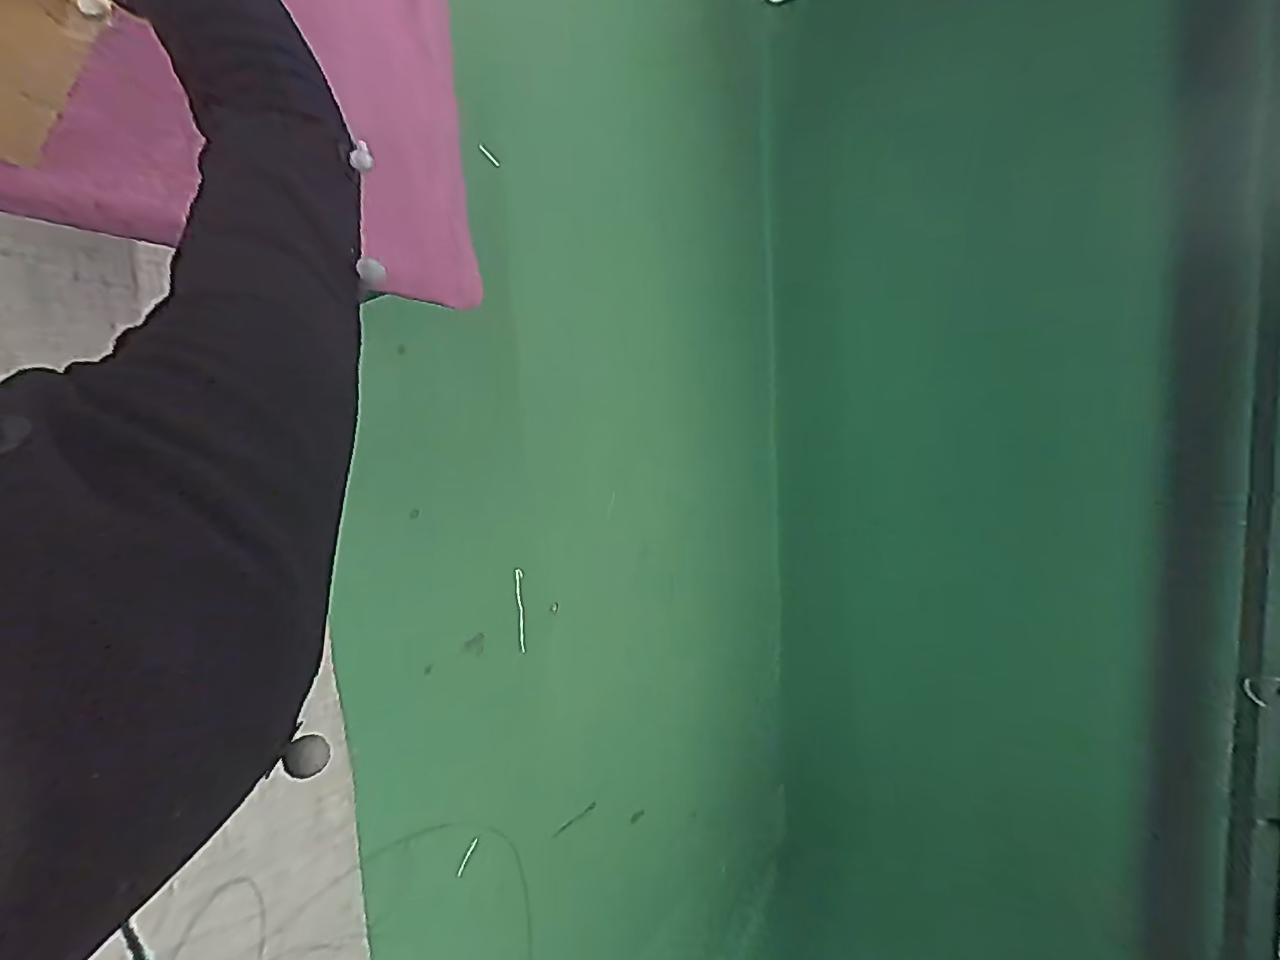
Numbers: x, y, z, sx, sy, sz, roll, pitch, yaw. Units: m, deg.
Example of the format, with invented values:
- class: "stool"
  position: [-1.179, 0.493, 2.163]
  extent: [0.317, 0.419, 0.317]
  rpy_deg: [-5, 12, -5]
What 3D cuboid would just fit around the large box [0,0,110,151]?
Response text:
- class: "large box"
  position: [-0.581, -0.511, 0.322]
  extent: [0.320, 0.320, 0.408]
  rpy_deg: [-5, 95, -54]
